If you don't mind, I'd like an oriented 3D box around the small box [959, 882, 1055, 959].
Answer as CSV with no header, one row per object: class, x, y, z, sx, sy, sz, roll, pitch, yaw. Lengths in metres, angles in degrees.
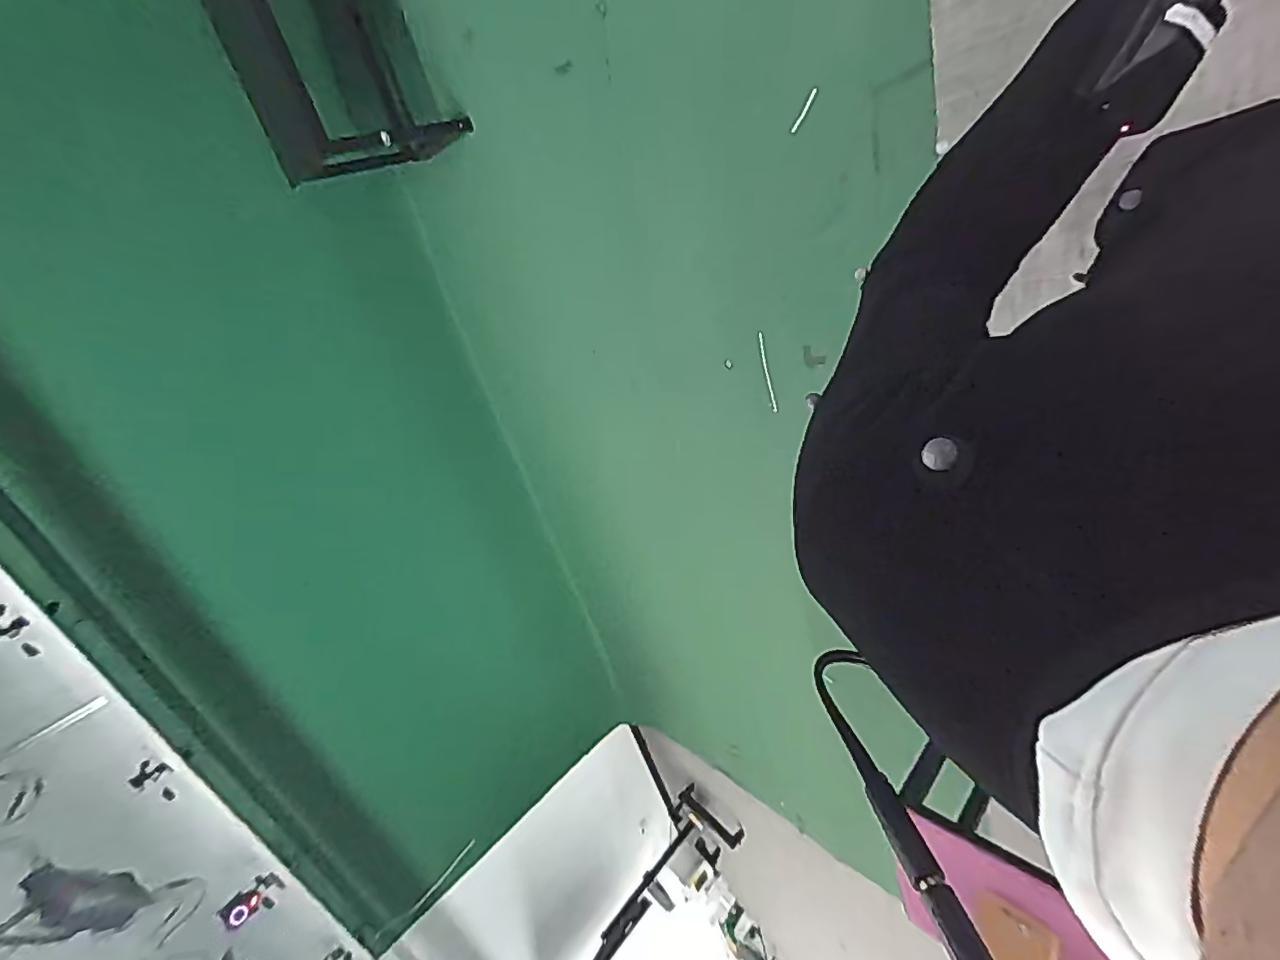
small box,0.933,1.187,1.374,0.168,0.176,0.179,11,128,47
